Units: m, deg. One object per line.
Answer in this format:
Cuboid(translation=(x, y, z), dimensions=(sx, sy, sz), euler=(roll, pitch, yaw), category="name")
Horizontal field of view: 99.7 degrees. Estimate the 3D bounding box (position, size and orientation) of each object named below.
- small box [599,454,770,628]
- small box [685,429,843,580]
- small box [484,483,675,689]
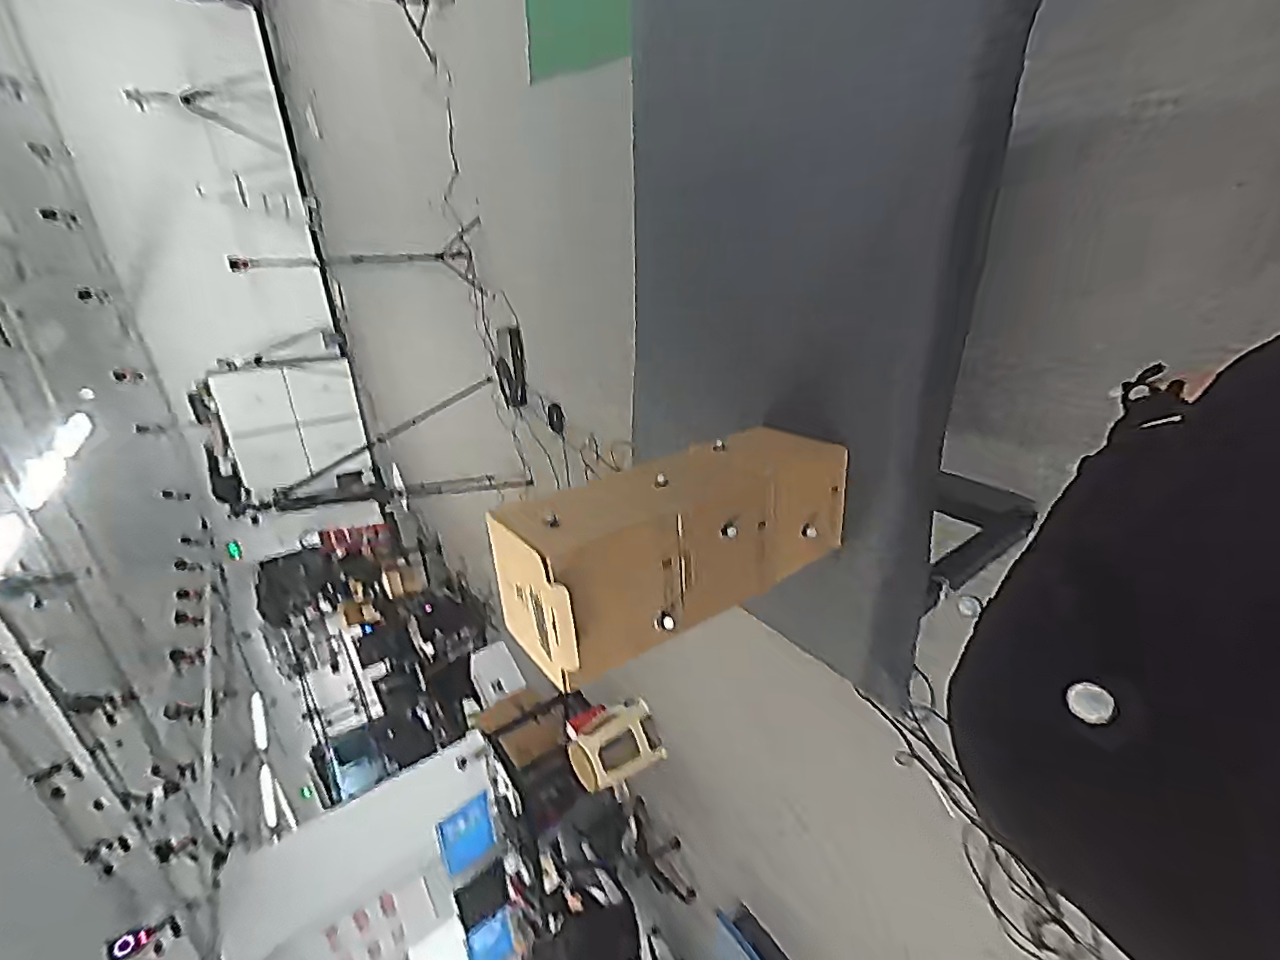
Cuboid(translation=(0.064, 0.071, 0.752), dimensions=(0.179, 0.176, 0.168), euler=(22, 122, 52), category="small box")
Cuboid(translation=(0.193, 0.025, 0.841), dimensions=(0.179, 0.176, 0.168), euler=(22, 123, 50), category="small box")
Cuboid(translation=(-0.068, 0.113, 0.665), dimensions=(0.179, 0.176, 0.168), euler=(20, 120, 52), category="small box")
